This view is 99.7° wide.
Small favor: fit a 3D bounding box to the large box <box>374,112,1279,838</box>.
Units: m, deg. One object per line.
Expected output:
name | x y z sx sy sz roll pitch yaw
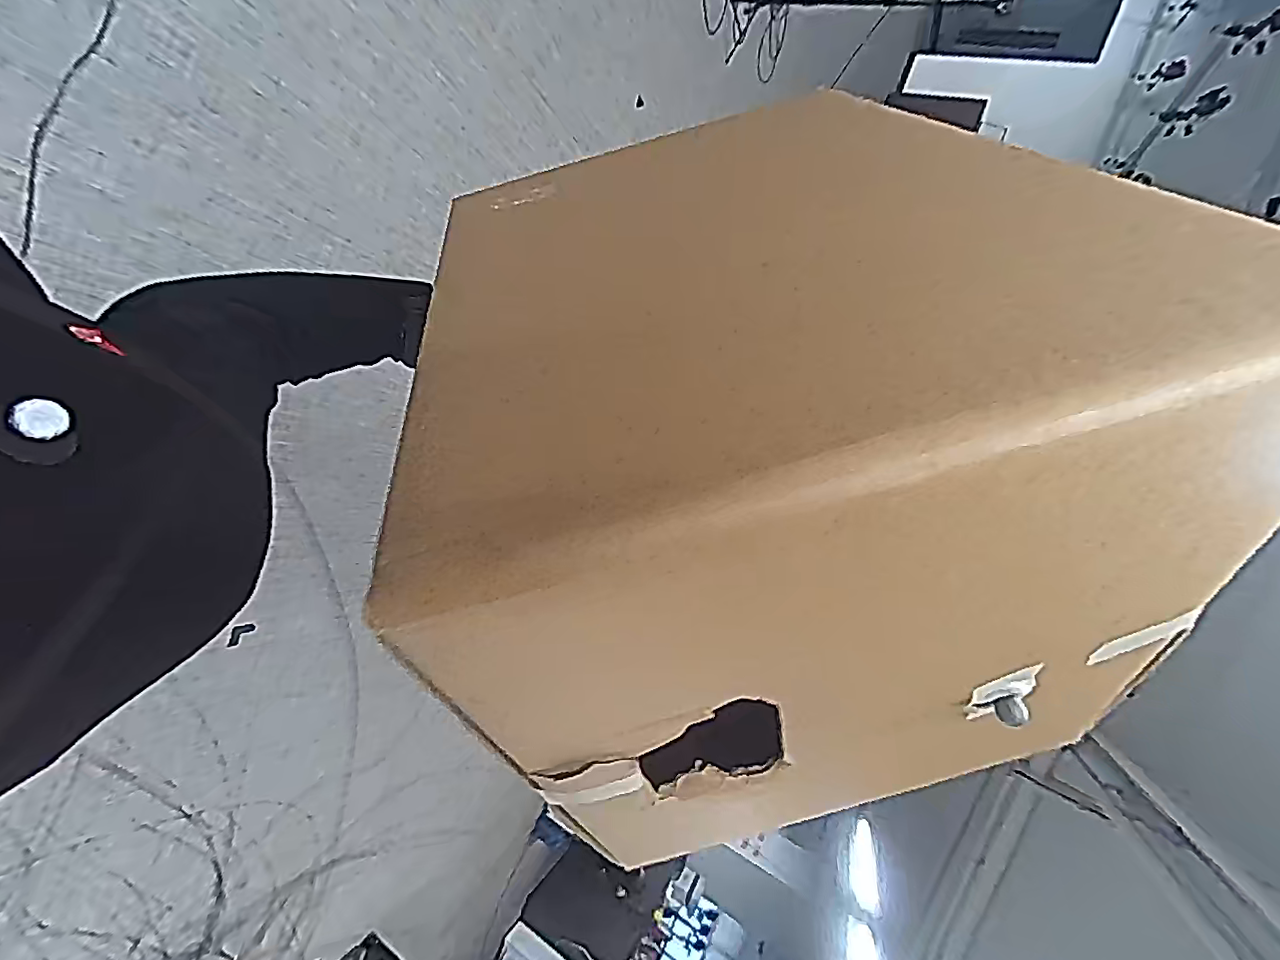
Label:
large box | 0.063 -0.030 0.405 0.408 0.320 0.320 -104 179 -47
